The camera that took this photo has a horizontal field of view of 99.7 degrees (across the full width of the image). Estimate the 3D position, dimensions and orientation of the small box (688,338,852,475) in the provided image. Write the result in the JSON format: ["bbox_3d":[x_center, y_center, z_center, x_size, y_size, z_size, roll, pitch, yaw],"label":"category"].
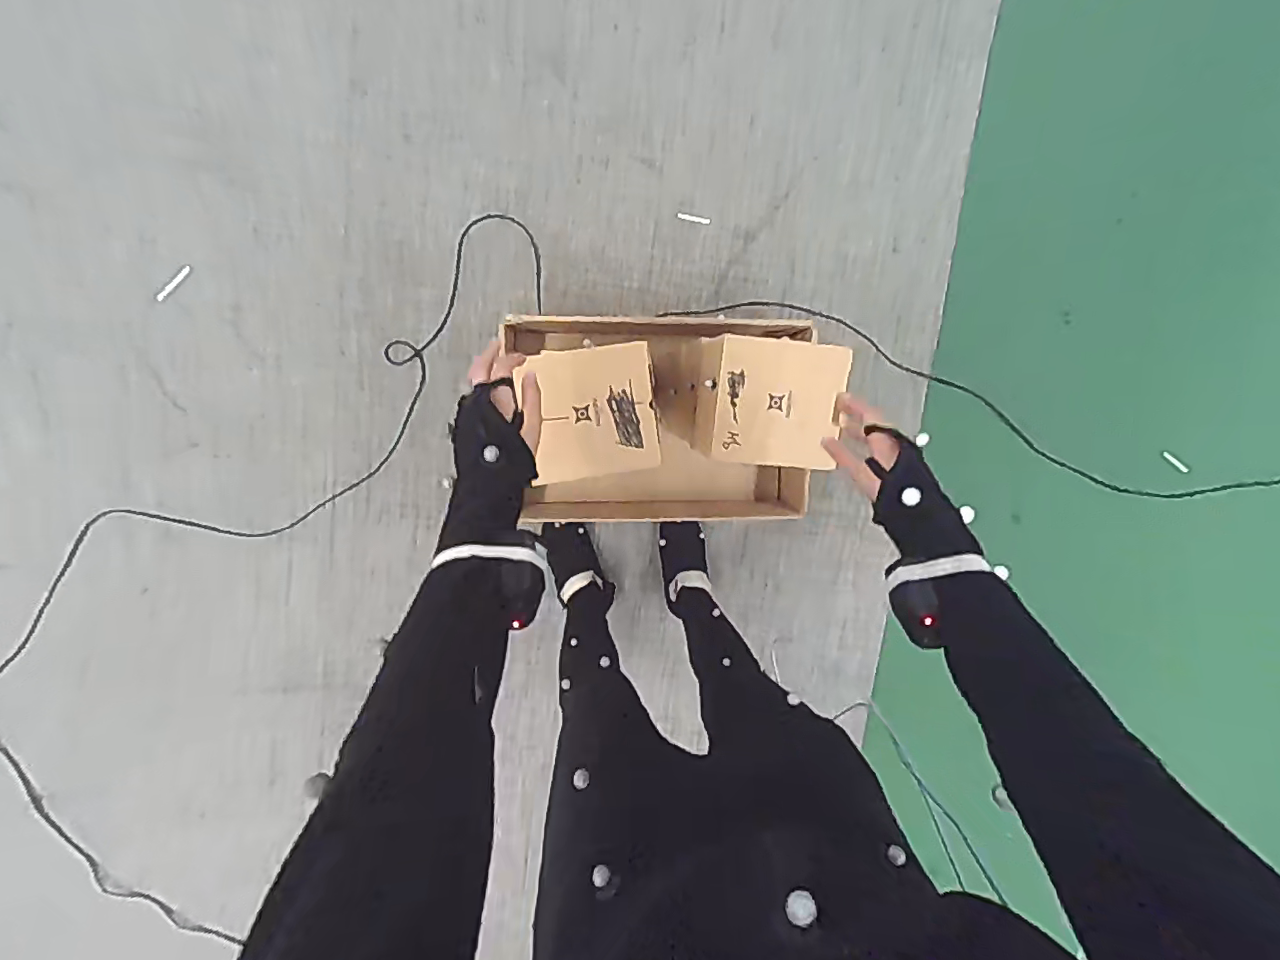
[{"bbox_3d":[0.177,-0.108,0.788,0.179,0.176,0.168,5,98,-5],"label":"small box"}]

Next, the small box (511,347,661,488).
[{"bbox_3d":[-0.076,-0.094,0.772,0.179,0.176,0.168,-9,100,-4],"label":"small box"}]

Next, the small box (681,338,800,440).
[{"bbox_3d":[0.167,-0.148,0.949,0.168,0.176,0.179,2,99,-4],"label":"small box"}]
